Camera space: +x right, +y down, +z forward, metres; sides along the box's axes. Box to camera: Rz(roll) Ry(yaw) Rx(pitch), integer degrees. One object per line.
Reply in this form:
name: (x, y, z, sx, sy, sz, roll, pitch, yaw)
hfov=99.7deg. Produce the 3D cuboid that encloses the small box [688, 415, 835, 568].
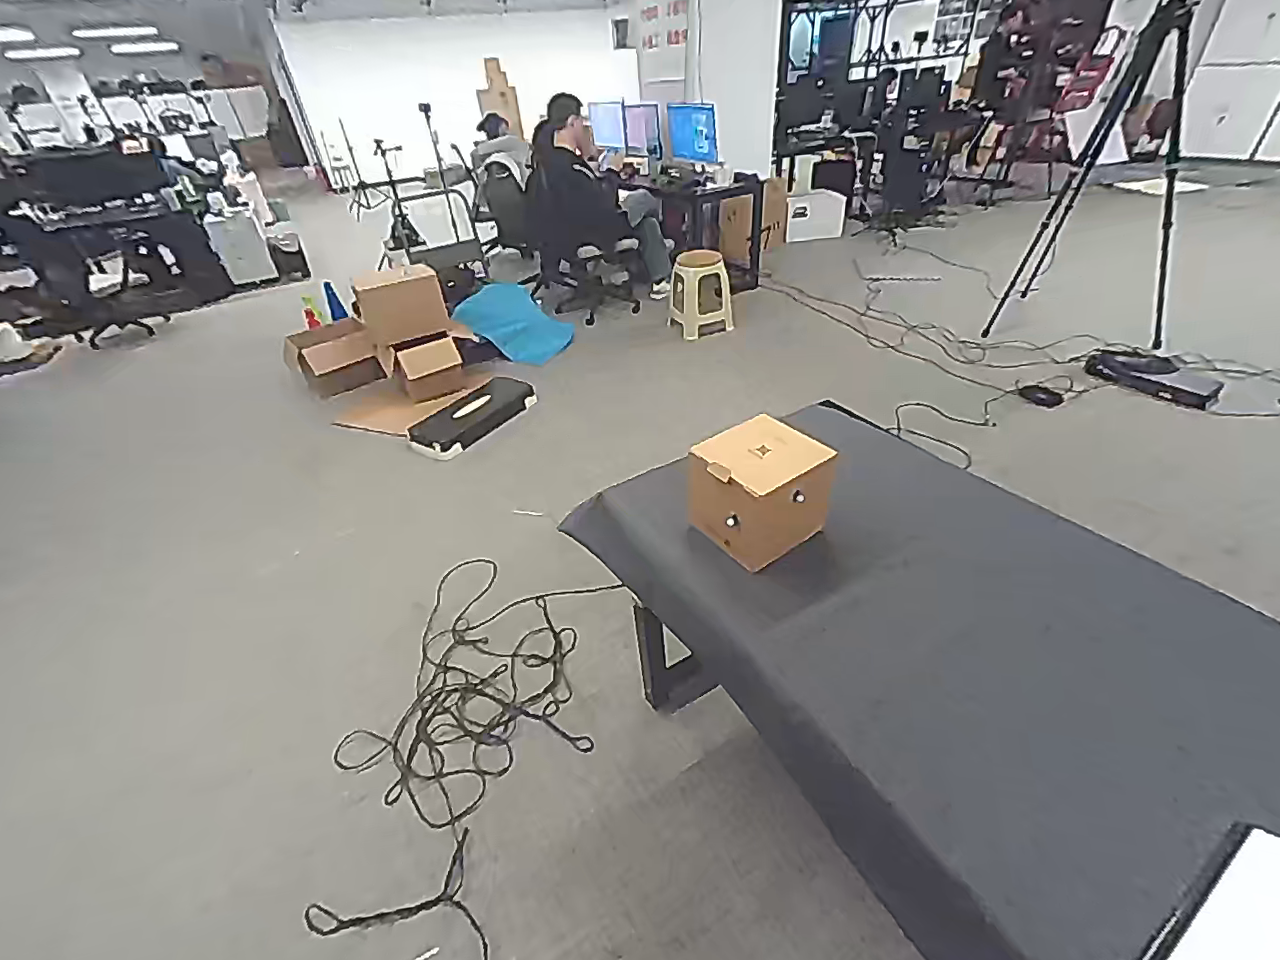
small box: (0.201, 0.019, 0.920, 0.179, 0.176, 0.168, -25, 42, -26)
